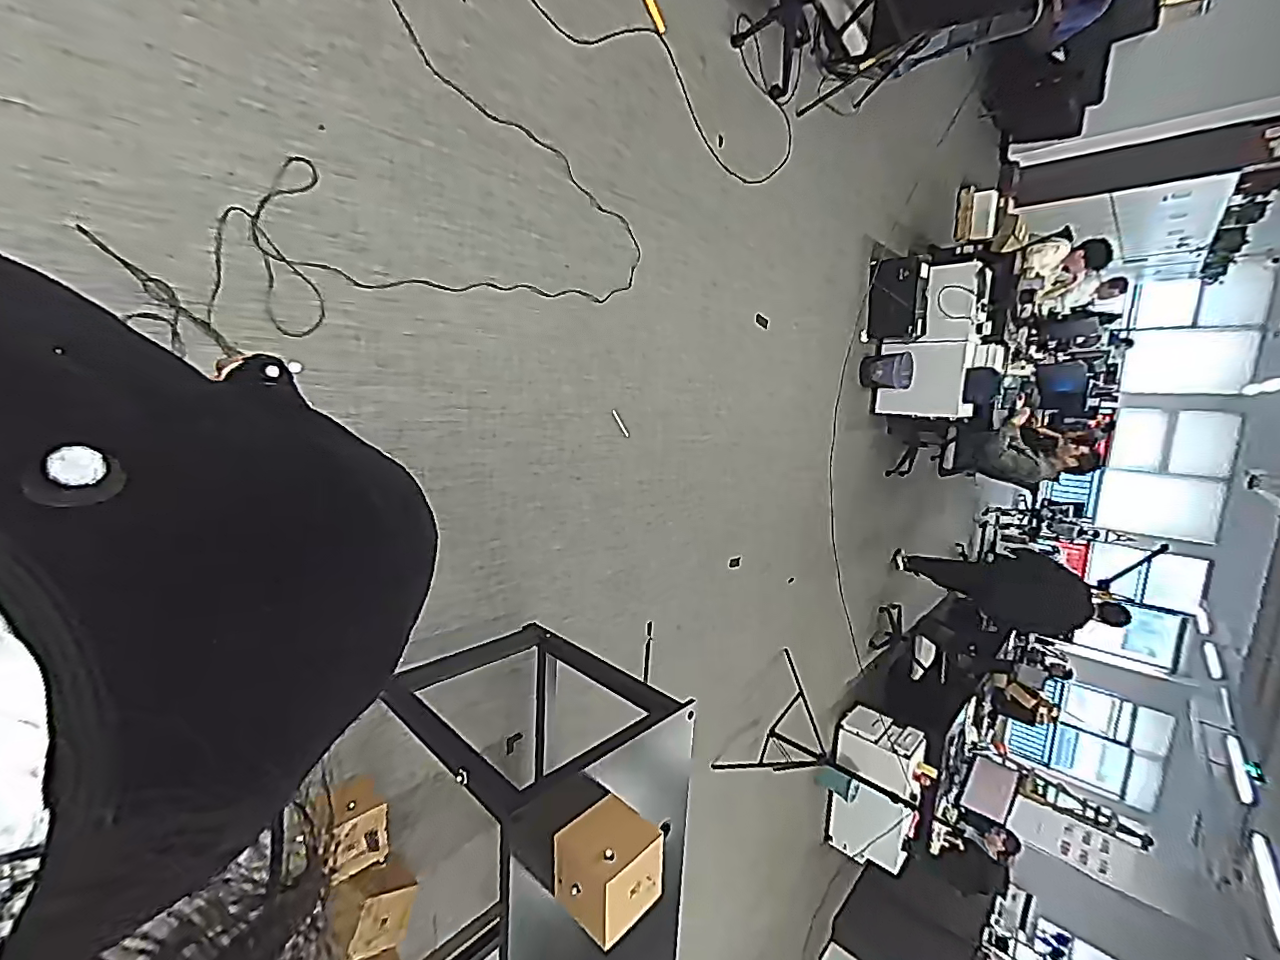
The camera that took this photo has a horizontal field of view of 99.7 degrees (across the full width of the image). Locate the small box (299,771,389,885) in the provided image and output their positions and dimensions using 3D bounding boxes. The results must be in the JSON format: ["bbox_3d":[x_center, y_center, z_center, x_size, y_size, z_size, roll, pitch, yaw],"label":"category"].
[{"bbox_3d":[-0.817,0.948,1.496,0.179,0.176,0.168,-8,104,-45],"label":"small box"}]

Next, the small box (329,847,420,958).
[{"bbox_3d":[-0.787,1.232,1.592,0.168,0.176,0.179,24,80,-48],"label":"small box"}]

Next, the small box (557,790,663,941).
[{"bbox_3d":[-0.070,0.837,1.194,0.179,0.176,0.168,-11,107,-46],"label":"small box"}]
